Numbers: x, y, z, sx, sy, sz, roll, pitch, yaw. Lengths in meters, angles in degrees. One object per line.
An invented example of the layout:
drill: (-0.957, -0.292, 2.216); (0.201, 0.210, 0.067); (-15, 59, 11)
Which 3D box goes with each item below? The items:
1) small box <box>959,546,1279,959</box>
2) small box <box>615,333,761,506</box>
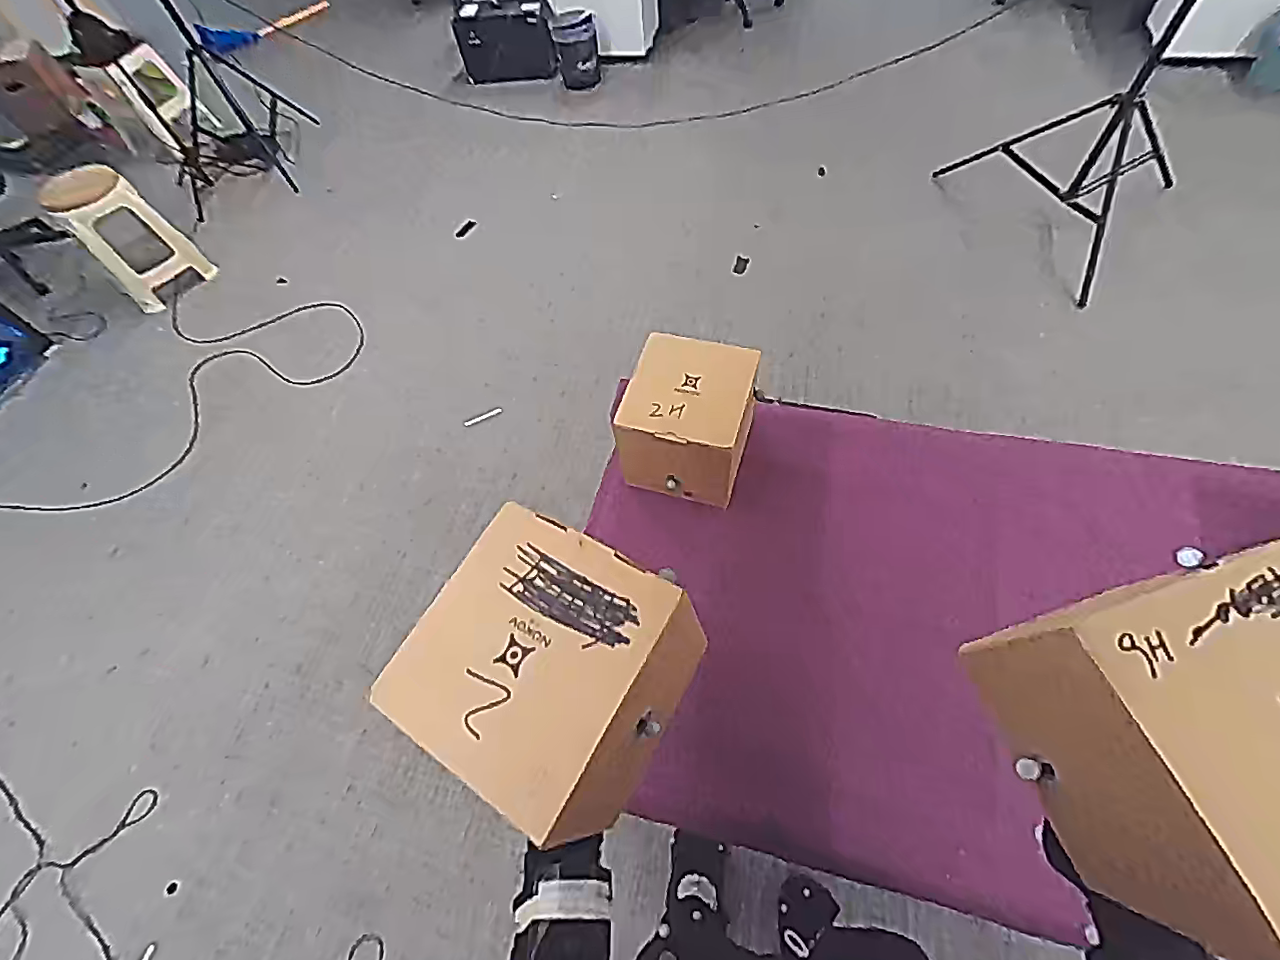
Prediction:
small box: (0.356, 0.160, 0.353); (0.168, 0.176, 0.179); (-20, 67, -1)
small box: (0.074, -0.087, 0.811); (0.168, 0.176, 0.179); (14, 64, 13)
